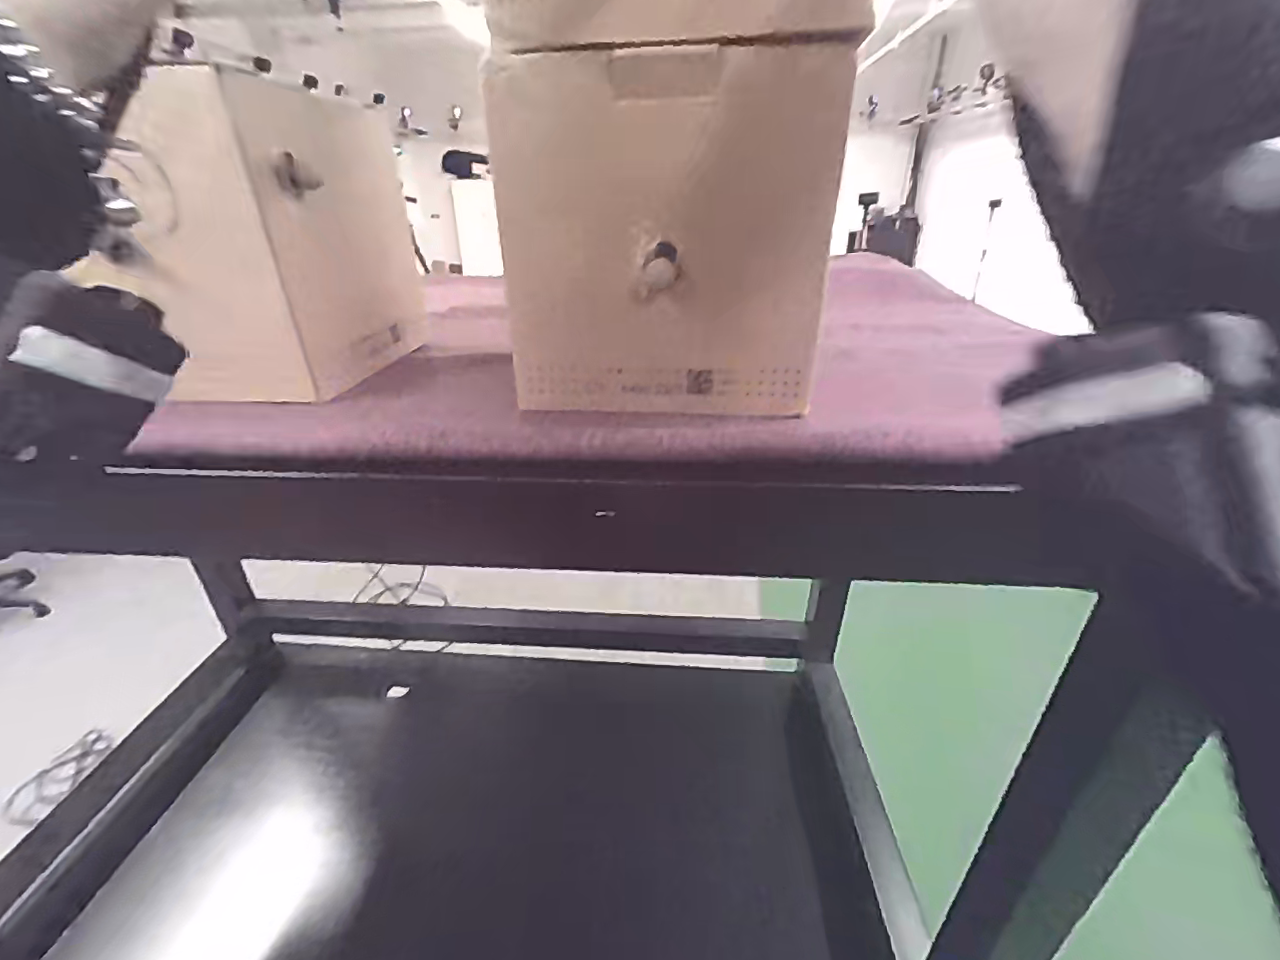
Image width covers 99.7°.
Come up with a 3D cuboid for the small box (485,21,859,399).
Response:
[{"bbox_3d":[0.022,-0.156,0.340,0.168,0.176,0.179,2,28,5],"label":"small box"}]

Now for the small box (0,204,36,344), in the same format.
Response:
[{"bbox_3d":[-0.594,-0.168,0.370,0.168,0.176,0.179,1,26,1],"label":"small box"}]

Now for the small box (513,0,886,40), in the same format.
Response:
[{"bbox_3d":[0.030,-0.299,0.261,0.168,0.176,0.179,2,29,8],"label":"small box"}]
